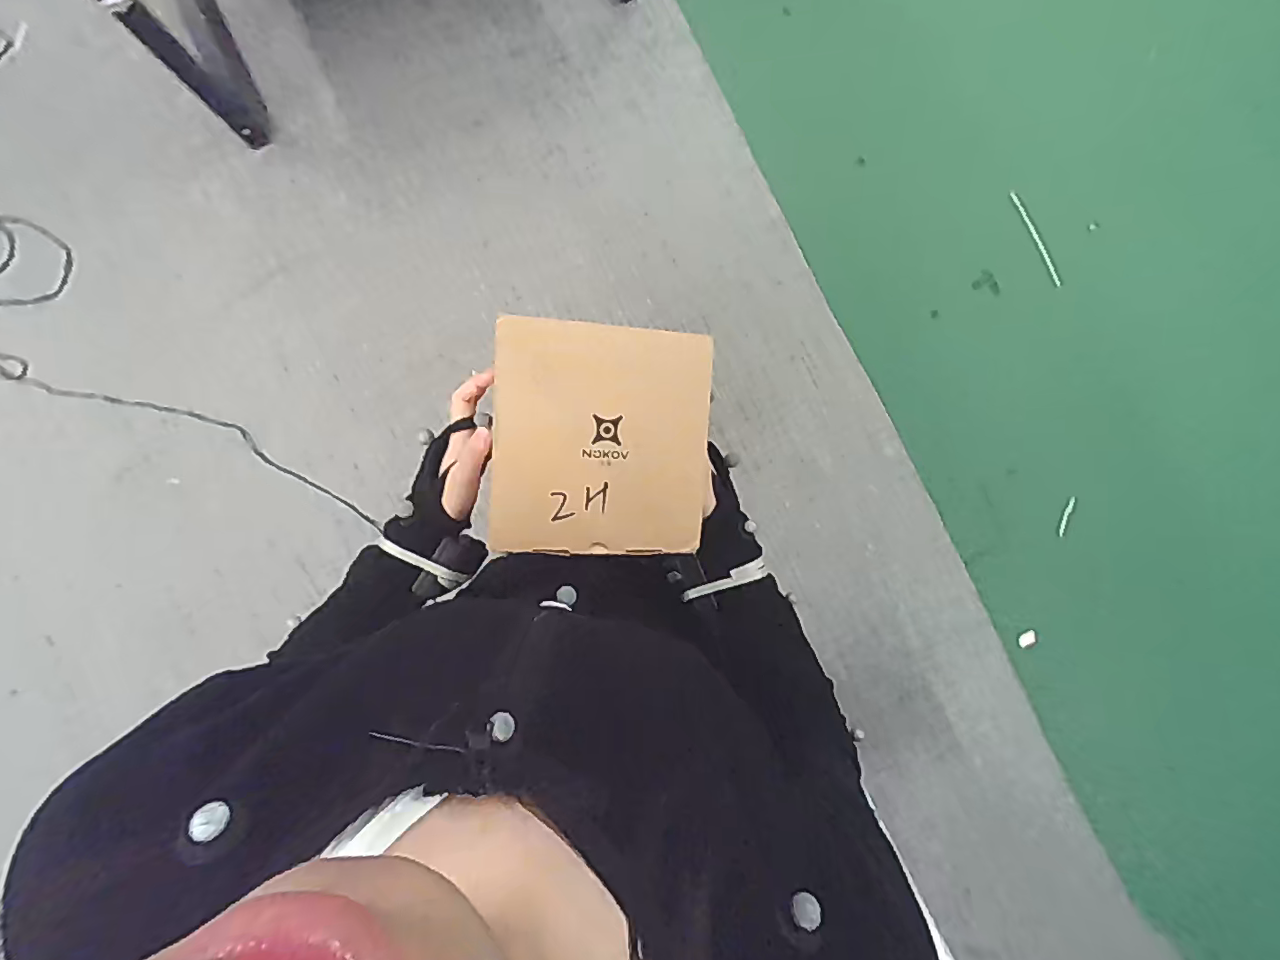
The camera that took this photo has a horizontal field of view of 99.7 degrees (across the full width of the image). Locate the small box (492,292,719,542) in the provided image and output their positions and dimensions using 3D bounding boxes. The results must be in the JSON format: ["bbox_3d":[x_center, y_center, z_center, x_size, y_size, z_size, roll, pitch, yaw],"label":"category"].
[{"bbox_3d":[-0.042,-0.047,0.472,0.168,0.176,0.179,2,94,-14],"label":"small box"}]
